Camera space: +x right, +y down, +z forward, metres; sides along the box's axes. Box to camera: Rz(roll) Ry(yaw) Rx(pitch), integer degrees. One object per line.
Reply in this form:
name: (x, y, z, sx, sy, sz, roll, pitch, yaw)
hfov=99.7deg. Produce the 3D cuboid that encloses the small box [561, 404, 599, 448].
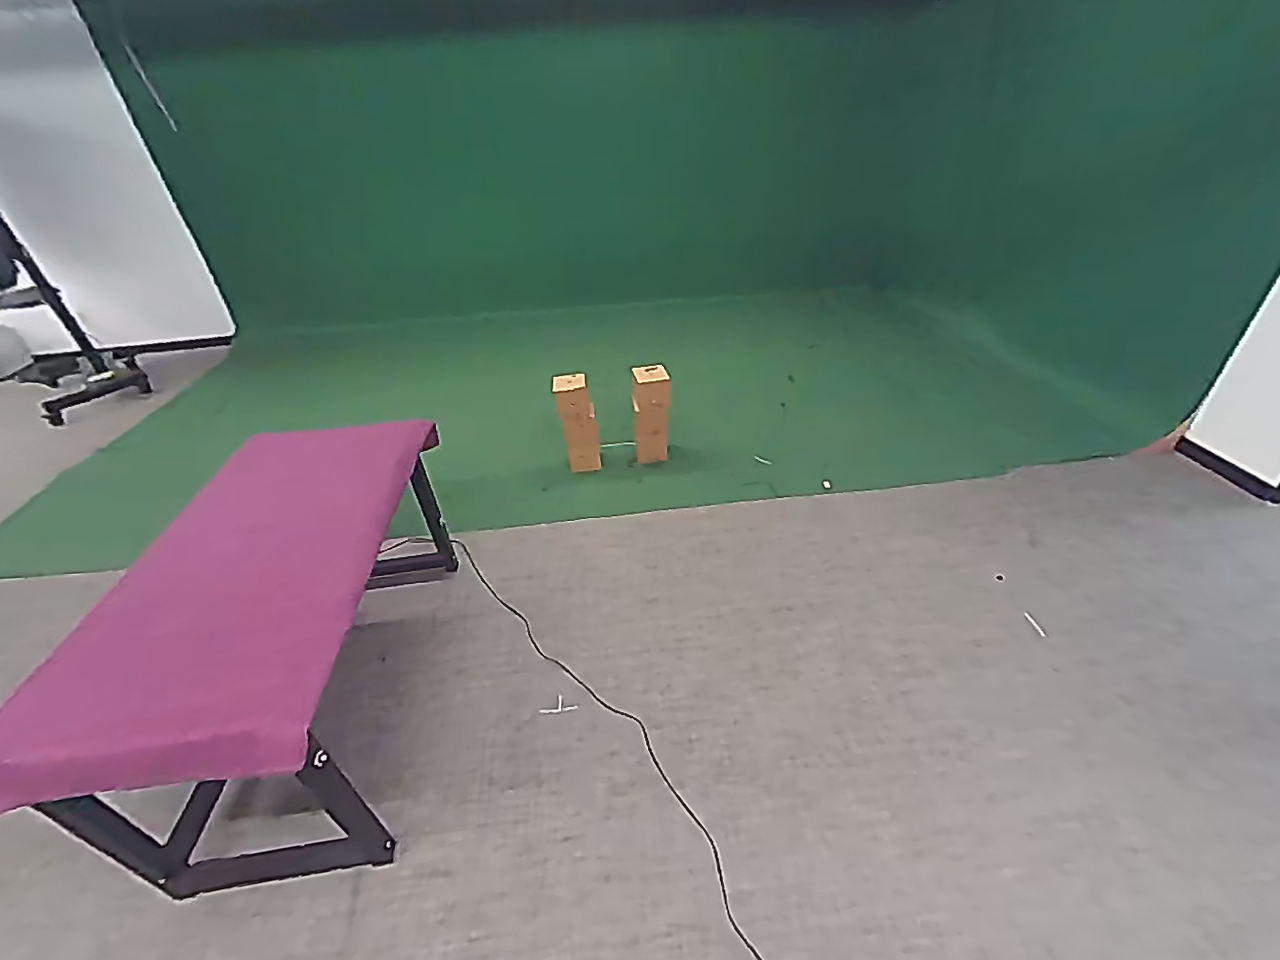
small box: (-0.319, -0.284, 2.885, 0.179, 0.176, 0.168, -7, 35, -3)

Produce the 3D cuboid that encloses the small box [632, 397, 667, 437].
small box: (0.052, -0.343, 2.922, 0.168, 0.176, 0.179, -6, 36, -4)

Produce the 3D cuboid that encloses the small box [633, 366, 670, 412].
small box: (0.058, -0.476, 2.826, 0.168, 0.176, 0.179, -9, 38, -8)

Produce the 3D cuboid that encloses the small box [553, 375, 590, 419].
small box: (-0.352, -0.424, 2.801, 0.168, 0.176, 0.179, -7, 36, -2)

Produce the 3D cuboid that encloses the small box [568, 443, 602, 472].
small box: (-0.305, -0.154, 2.984, 0.168, 0.176, 0.179, -8, 35, -3)
